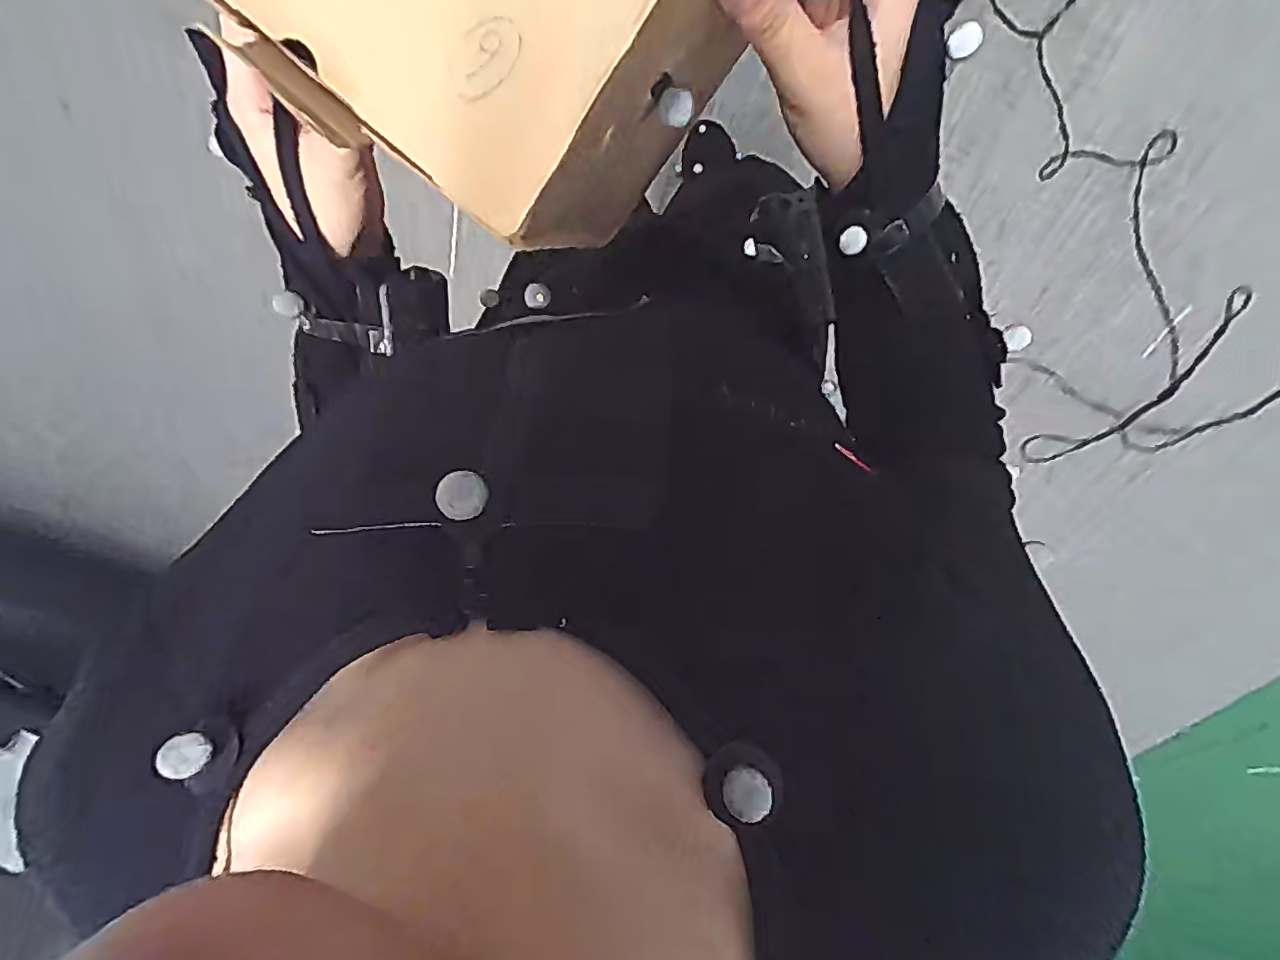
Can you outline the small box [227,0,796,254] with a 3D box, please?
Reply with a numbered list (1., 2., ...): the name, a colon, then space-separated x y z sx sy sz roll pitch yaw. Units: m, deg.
1. small box: -0.035 -0.219 0.218 0.168 0.176 0.179 39 114 -9
